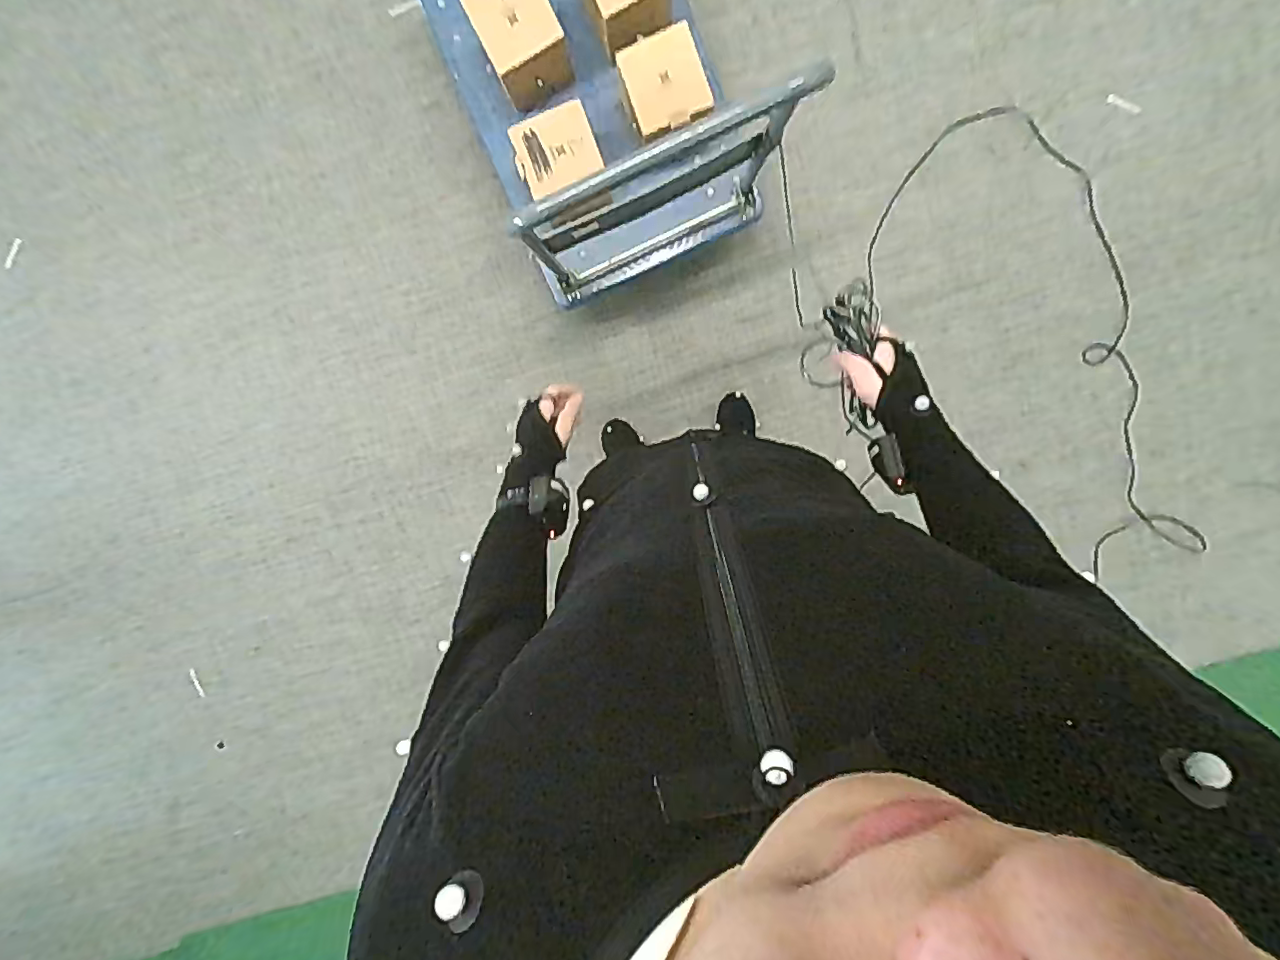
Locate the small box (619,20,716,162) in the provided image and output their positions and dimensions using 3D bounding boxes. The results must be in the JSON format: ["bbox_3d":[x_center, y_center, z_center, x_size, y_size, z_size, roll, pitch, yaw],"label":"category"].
[{"bbox_3d":[0.060,-0.868,1.226,0.168,0.176,0.179,-21,99,6],"label":"small box"}]

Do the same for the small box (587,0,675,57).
[{"bbox_3d":[-0.032,-1.097,1.190,0.168,0.176,0.179,-25,99,7],"label":"small box"}]
